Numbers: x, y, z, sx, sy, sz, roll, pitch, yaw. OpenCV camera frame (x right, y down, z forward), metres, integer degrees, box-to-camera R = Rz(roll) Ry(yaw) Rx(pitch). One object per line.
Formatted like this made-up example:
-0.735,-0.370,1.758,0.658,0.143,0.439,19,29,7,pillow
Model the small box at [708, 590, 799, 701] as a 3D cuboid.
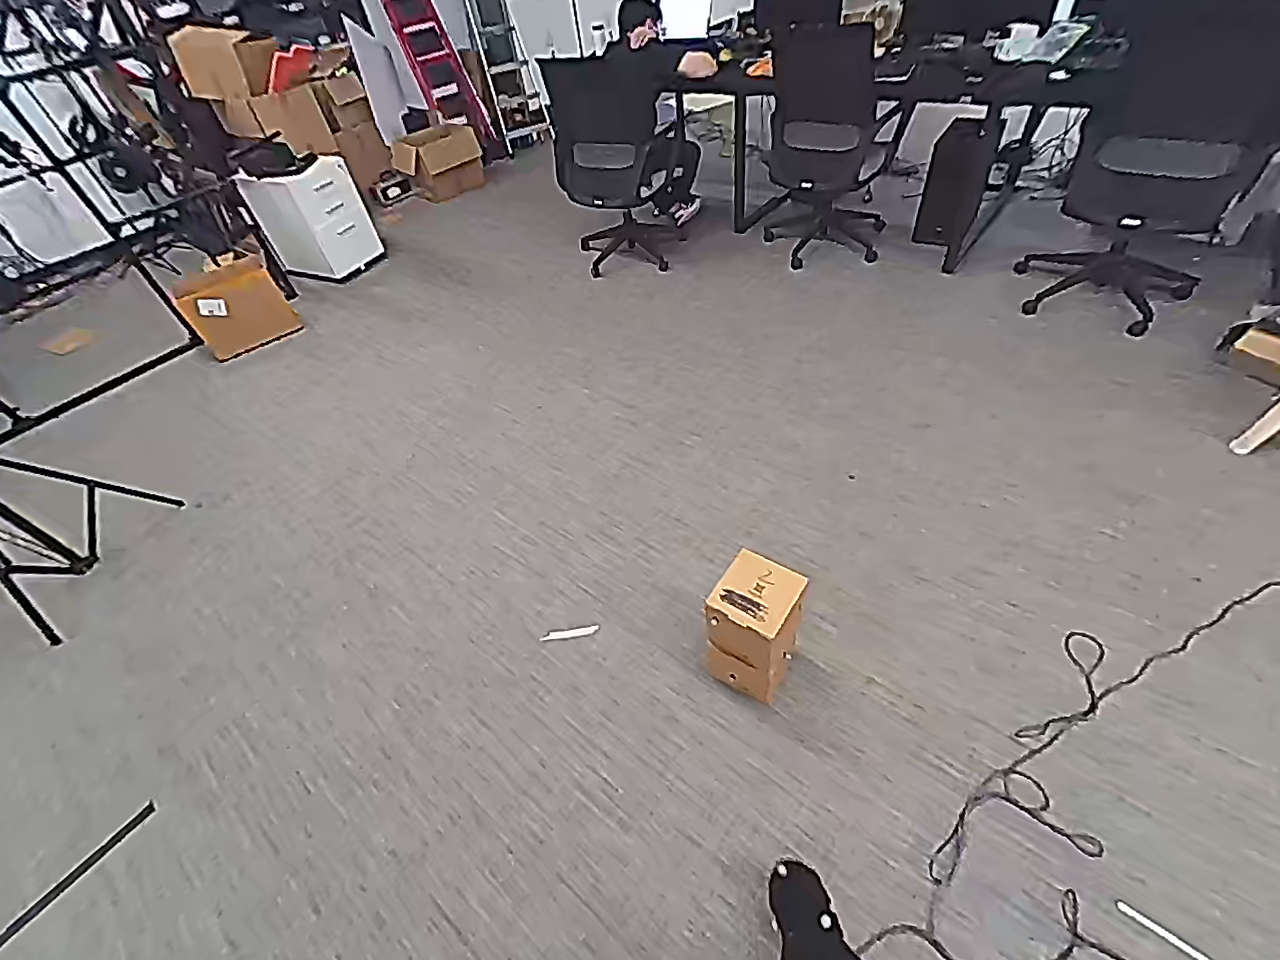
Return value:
0.280,0.414,1.351,0.168,0.176,0.179,20,53,26,small box
